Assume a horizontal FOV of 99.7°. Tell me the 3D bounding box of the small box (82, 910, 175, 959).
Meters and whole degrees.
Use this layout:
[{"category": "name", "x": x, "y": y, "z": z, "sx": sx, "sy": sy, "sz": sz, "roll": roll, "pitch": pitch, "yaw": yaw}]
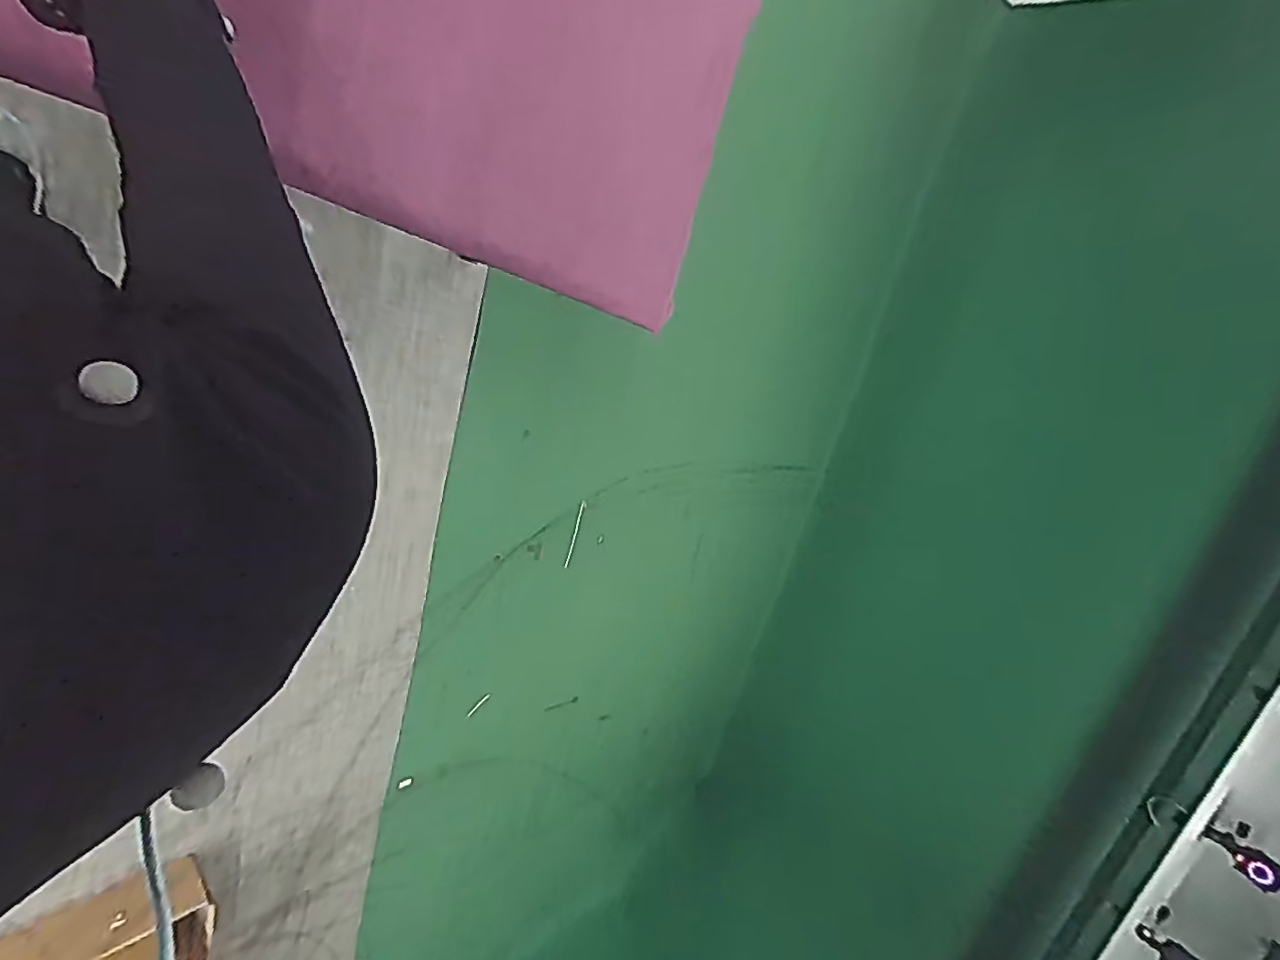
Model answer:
[{"category": "small box", "x": -1.370, "y": 1.318, "z": 1.444, "sx": 0.168, "sy": 0.176, "sz": 0.179, "roll": -2, "pitch": 114, "yaw": -50}]
